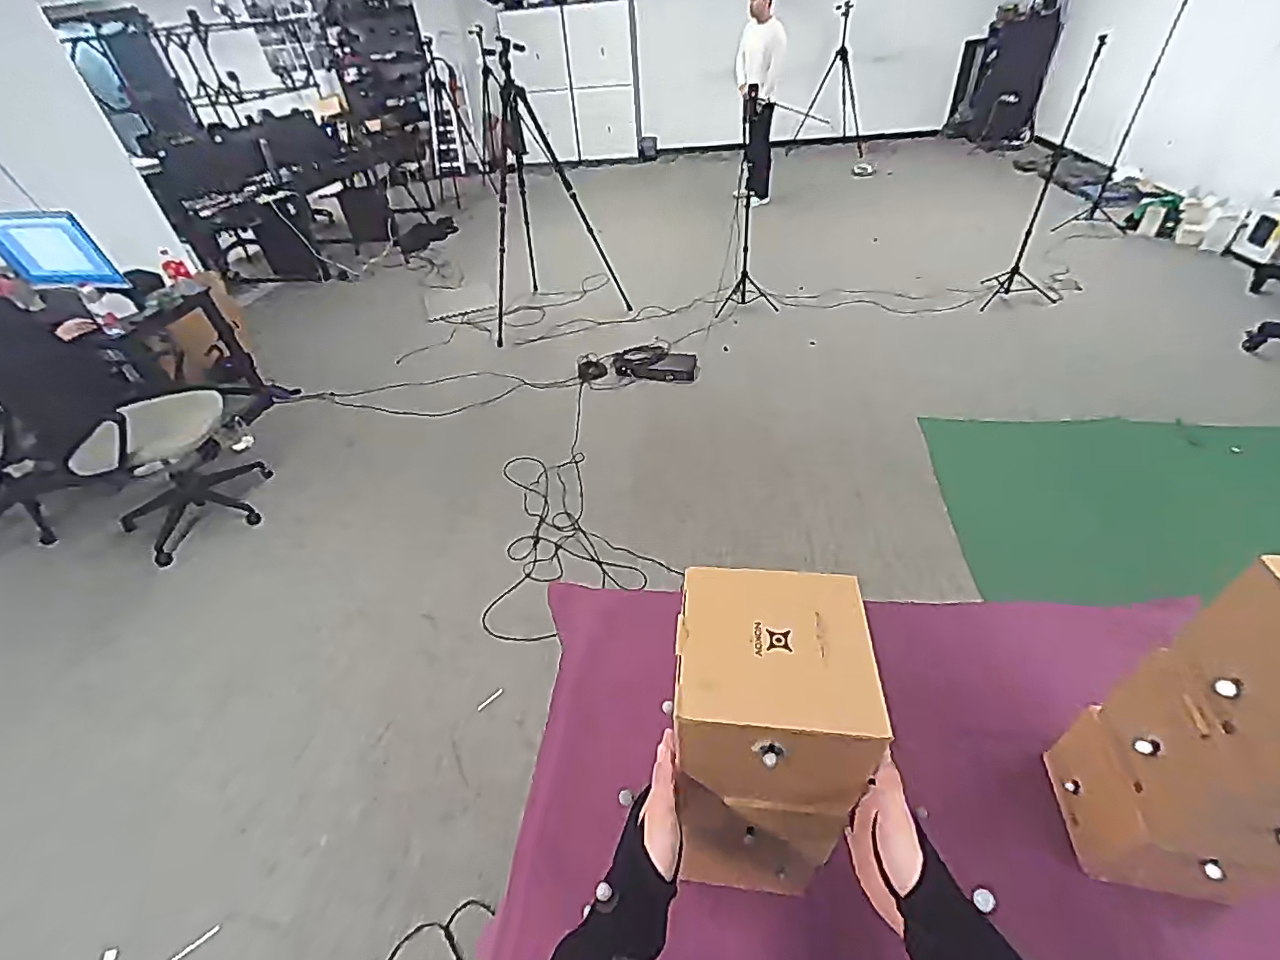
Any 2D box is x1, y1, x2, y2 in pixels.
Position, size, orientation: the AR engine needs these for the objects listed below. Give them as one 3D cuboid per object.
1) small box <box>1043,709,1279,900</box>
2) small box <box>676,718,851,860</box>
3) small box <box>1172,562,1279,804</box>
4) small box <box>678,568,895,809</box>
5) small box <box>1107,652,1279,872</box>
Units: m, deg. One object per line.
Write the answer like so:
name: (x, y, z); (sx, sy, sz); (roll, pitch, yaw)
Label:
small box: (0.700, 0.441, 0.734); (0.179, 0.176, 0.168); (4, 42, 12)
small box: (0.137, 0.336, 0.653); (0.179, 0.176, 0.168); (1, 41, 7)
small box: (0.681, 0.201, 0.508); (0.179, 0.176, 0.168); (4, 41, 12)
small box: (0.133, 0.210, 0.549); (0.179, 0.176, 0.168); (3, 41, 7)
small box: (0.688, 0.324, 0.619); (0.179, 0.176, 0.168); (4, 42, 12)
